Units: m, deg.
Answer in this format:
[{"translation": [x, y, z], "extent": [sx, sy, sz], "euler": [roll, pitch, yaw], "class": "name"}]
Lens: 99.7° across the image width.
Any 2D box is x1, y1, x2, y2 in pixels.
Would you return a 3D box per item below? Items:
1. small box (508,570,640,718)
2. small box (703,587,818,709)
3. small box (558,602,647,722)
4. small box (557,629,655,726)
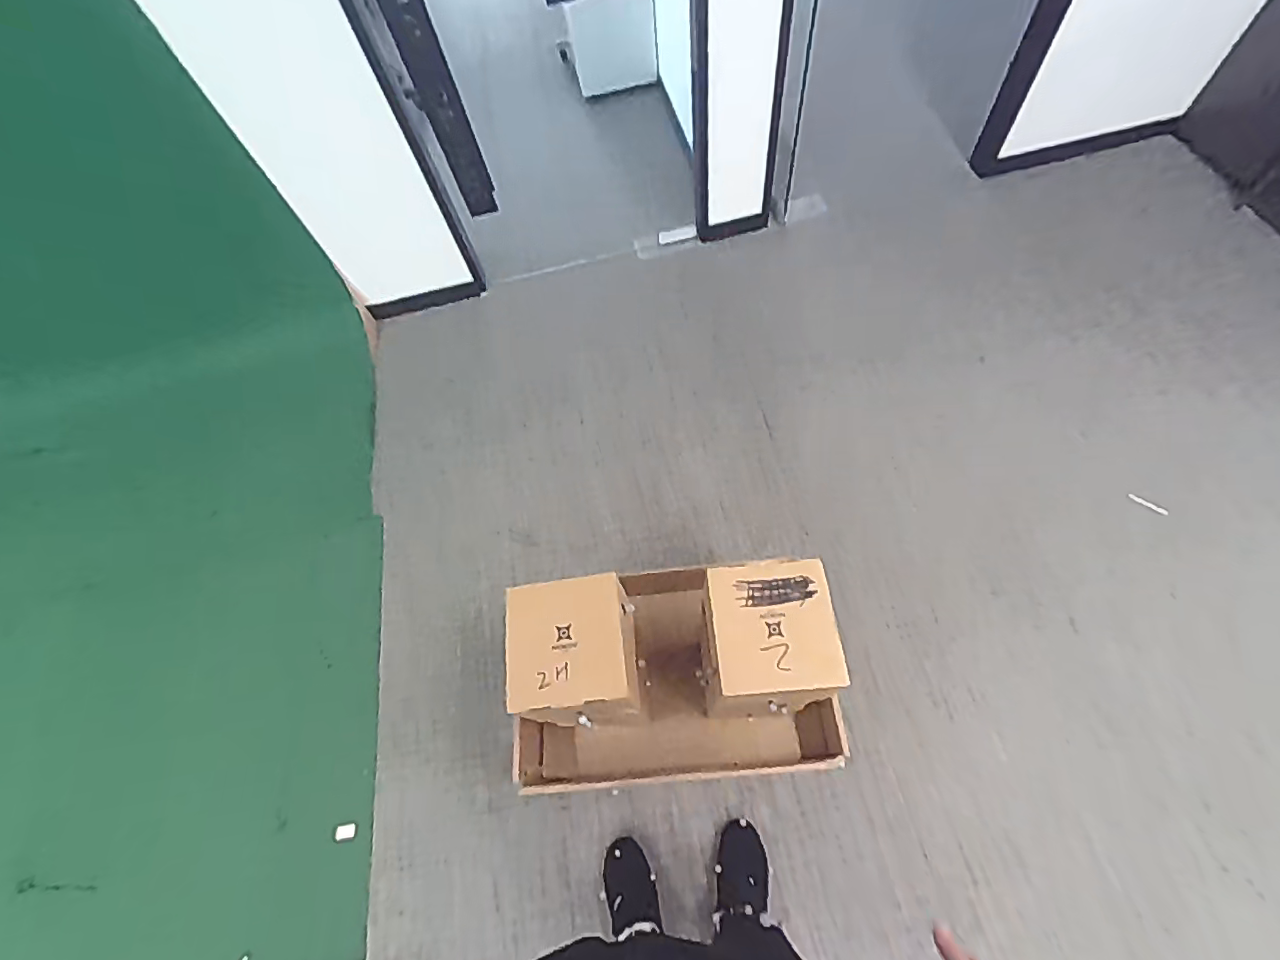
[{"translation": [-0.095, 0.256, 0.828], "extent": [0.168, 0.176, 0.179], "euler": [-9, 62, 3], "class": "small box"}, {"translation": [0.202, 0.301, 0.949], "extent": [0.168, 0.176, 0.179], "euler": [-6, 61, 4], "class": "small box"}, {"translation": [-0.079, 0.332, 0.973], "extent": [0.168, 0.176, 0.179], "euler": [-5, 62, 4], "class": "small box"}, {"translation": [-0.065, 0.412, 1.115], "extent": [0.179, 0.176, 0.168], "euler": [-4, 62, 5], "class": "small box"}]
